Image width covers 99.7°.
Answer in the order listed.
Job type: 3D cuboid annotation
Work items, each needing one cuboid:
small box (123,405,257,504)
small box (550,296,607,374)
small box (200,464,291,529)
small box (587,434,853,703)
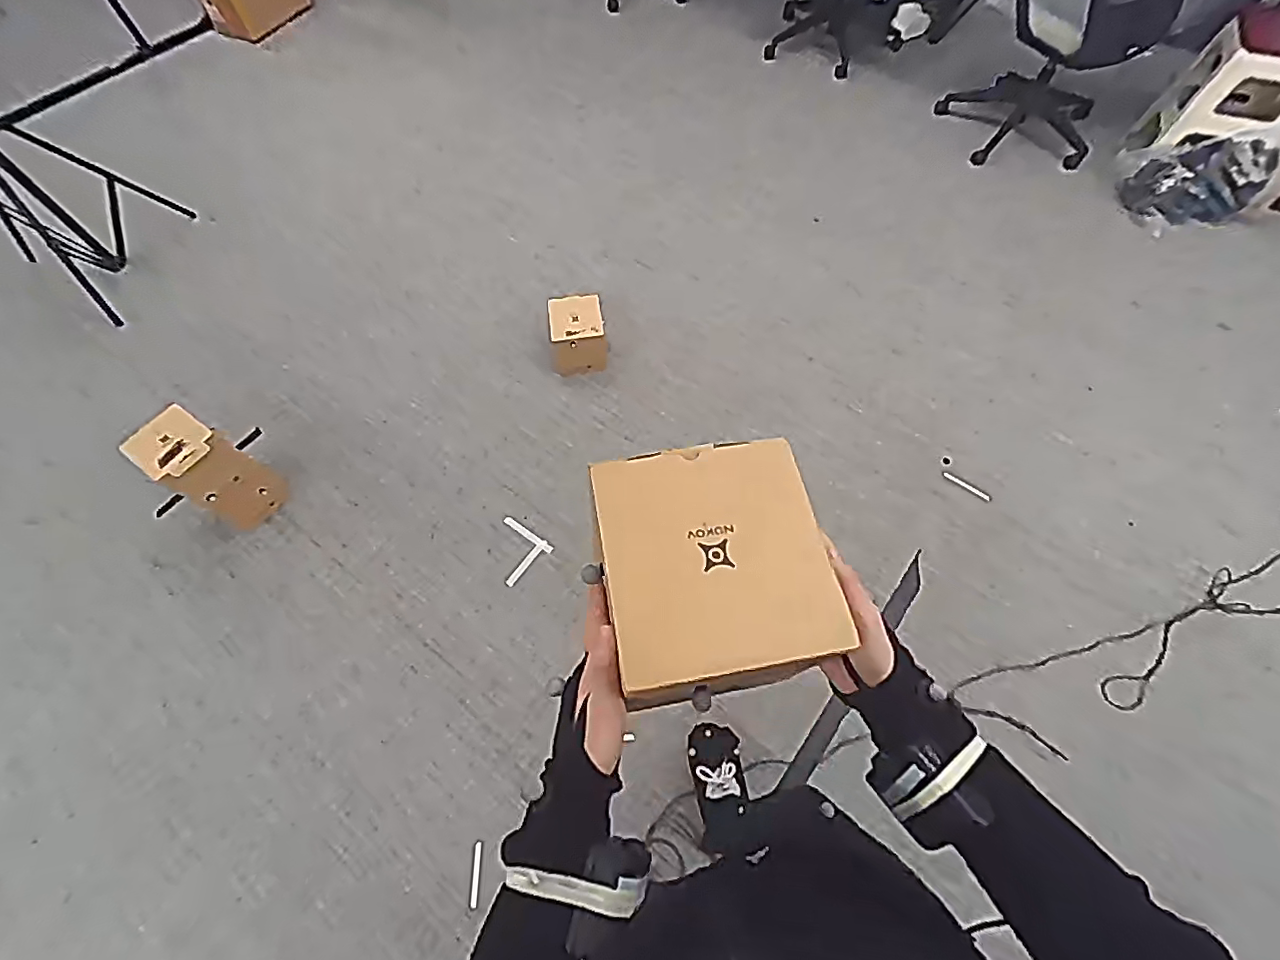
[{"bbox_3d":[-1.161,-0.058,1.411,0.179,0.176,0.168,31,67,17],"label":"small box"},{"bbox_3d":[-0.201,-0.475,1.777,0.168,0.176,0.179,-8,63,-3],"label":"small box"},{"bbox_3d":[-1.160,0.021,1.556,0.179,0.176,0.168,29,67,17],"label":"small box"},{"bbox_3d":[0.051,0.087,0.470,0.168,0.176,0.179,-9,62,-7],"label":"small box"}]
